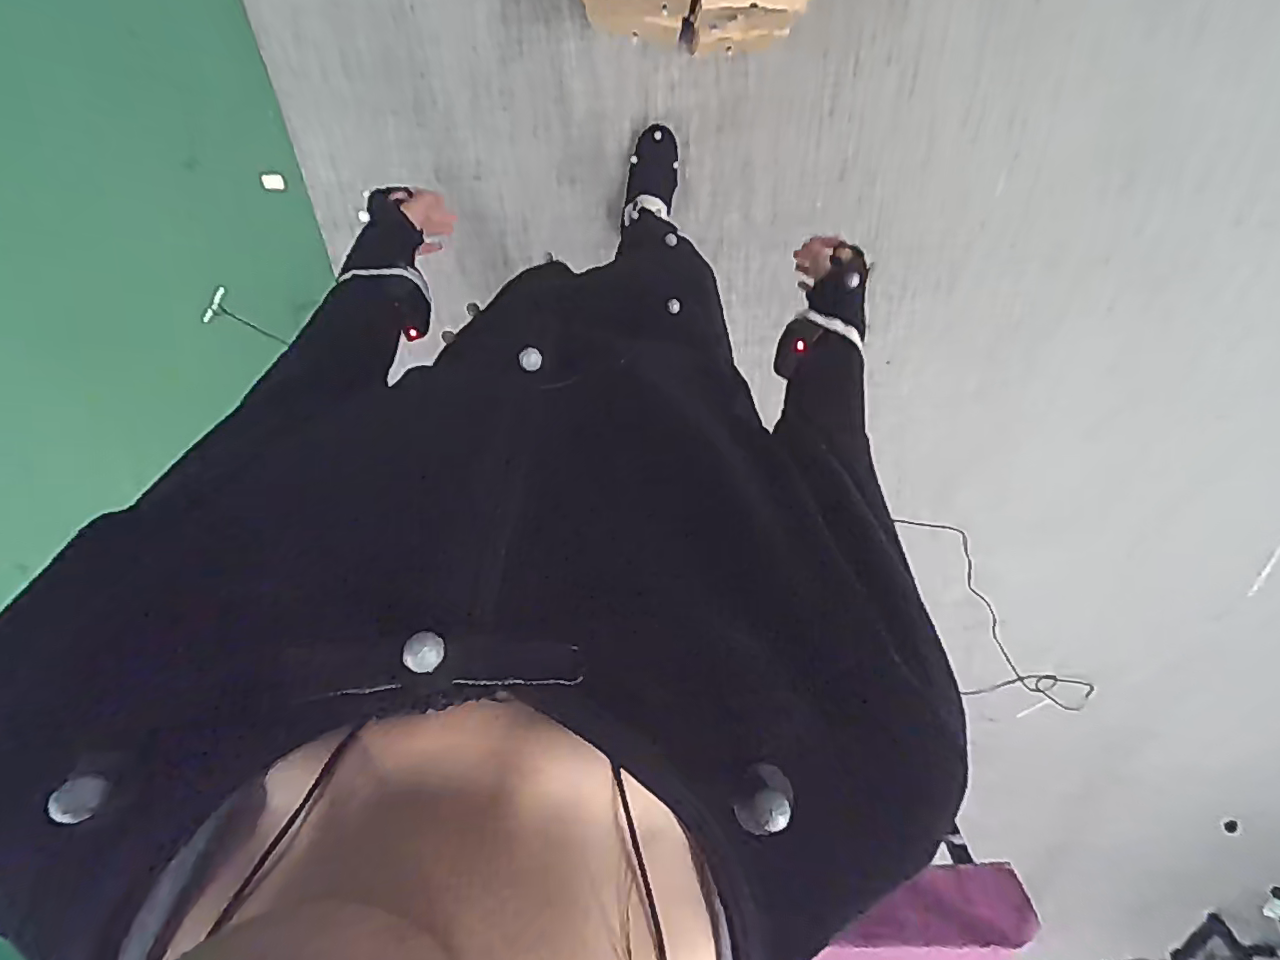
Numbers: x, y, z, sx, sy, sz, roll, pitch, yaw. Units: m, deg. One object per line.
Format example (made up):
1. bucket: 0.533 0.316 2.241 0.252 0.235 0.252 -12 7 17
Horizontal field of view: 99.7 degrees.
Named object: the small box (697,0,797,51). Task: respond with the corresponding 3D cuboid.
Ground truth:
1. small box: 0.191 -0.914 0.991 0.168 0.176 0.179 -2 123 3
